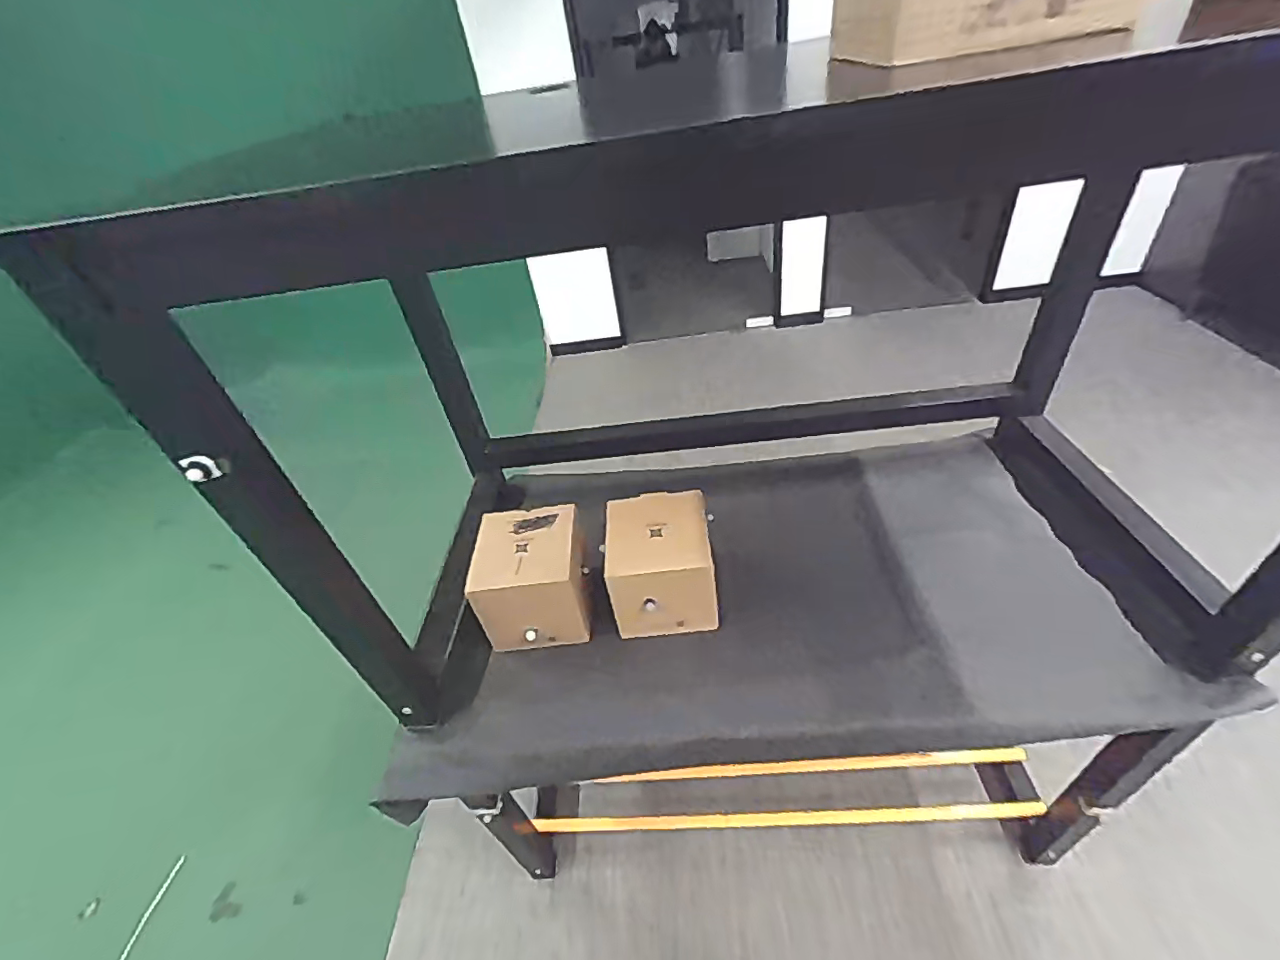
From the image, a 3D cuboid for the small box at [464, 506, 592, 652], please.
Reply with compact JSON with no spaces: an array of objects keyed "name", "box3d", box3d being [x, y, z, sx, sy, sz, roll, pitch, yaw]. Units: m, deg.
[{"name":"small box","box3d":[-0.181,0.171,0.934,0.168,0.176,0.179,-8,40,4]}]
